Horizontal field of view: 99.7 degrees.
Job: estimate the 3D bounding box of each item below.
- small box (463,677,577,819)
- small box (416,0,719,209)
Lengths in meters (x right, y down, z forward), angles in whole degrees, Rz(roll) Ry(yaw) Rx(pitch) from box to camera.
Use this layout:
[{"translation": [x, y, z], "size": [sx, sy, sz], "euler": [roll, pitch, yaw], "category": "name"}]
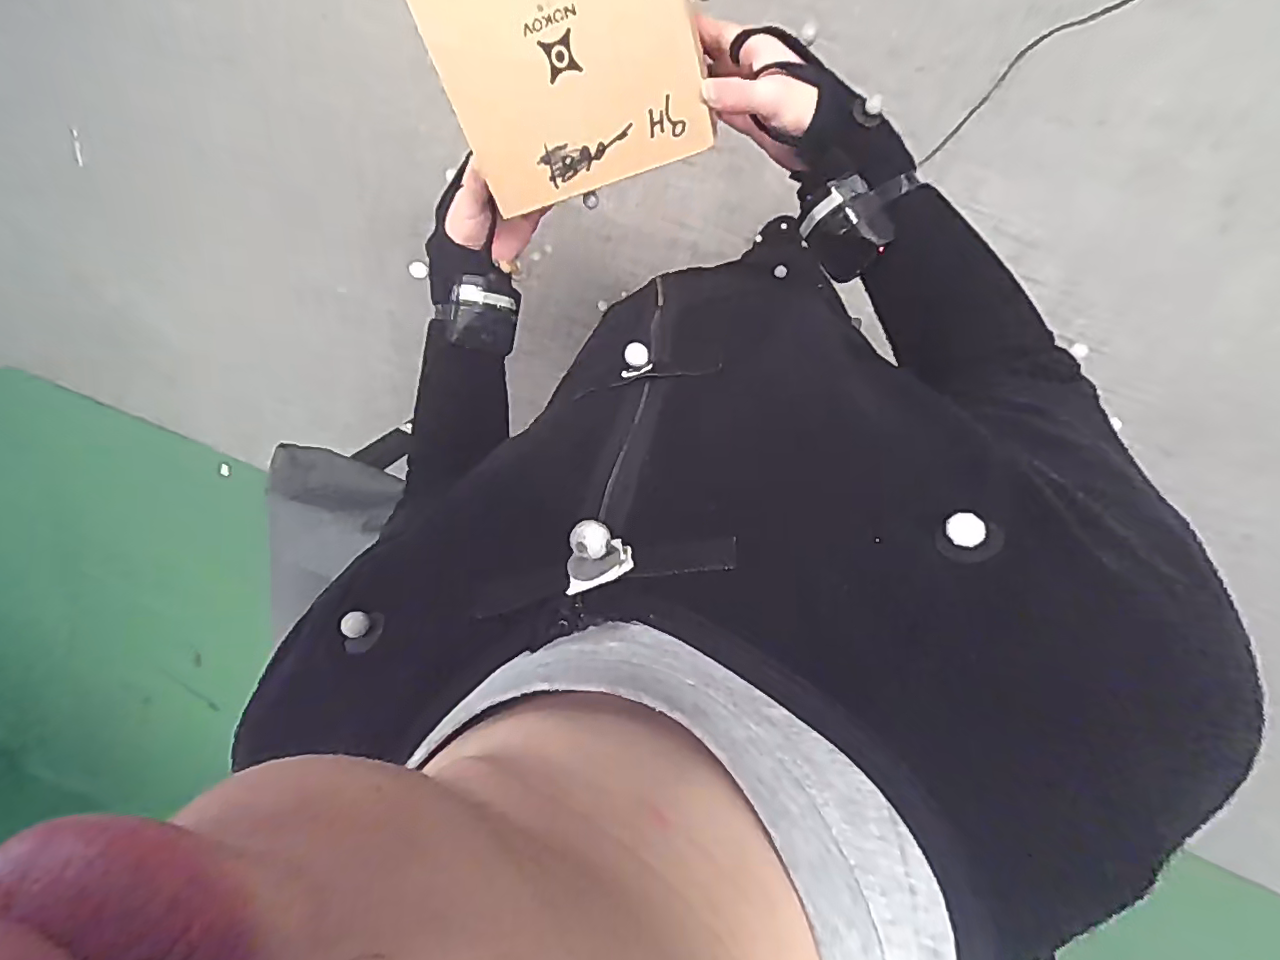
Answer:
[{"translation": [-0.241, 0.546, 1.113], "size": [0.168, 0.176, 0.179], "euler": [19, 118, 1], "category": "small box"}, {"translation": [-0.040, -0.329, 0.394], "size": [0.168, 0.176, 0.179], "euler": [-9, 127, 17], "category": "small box"}]
